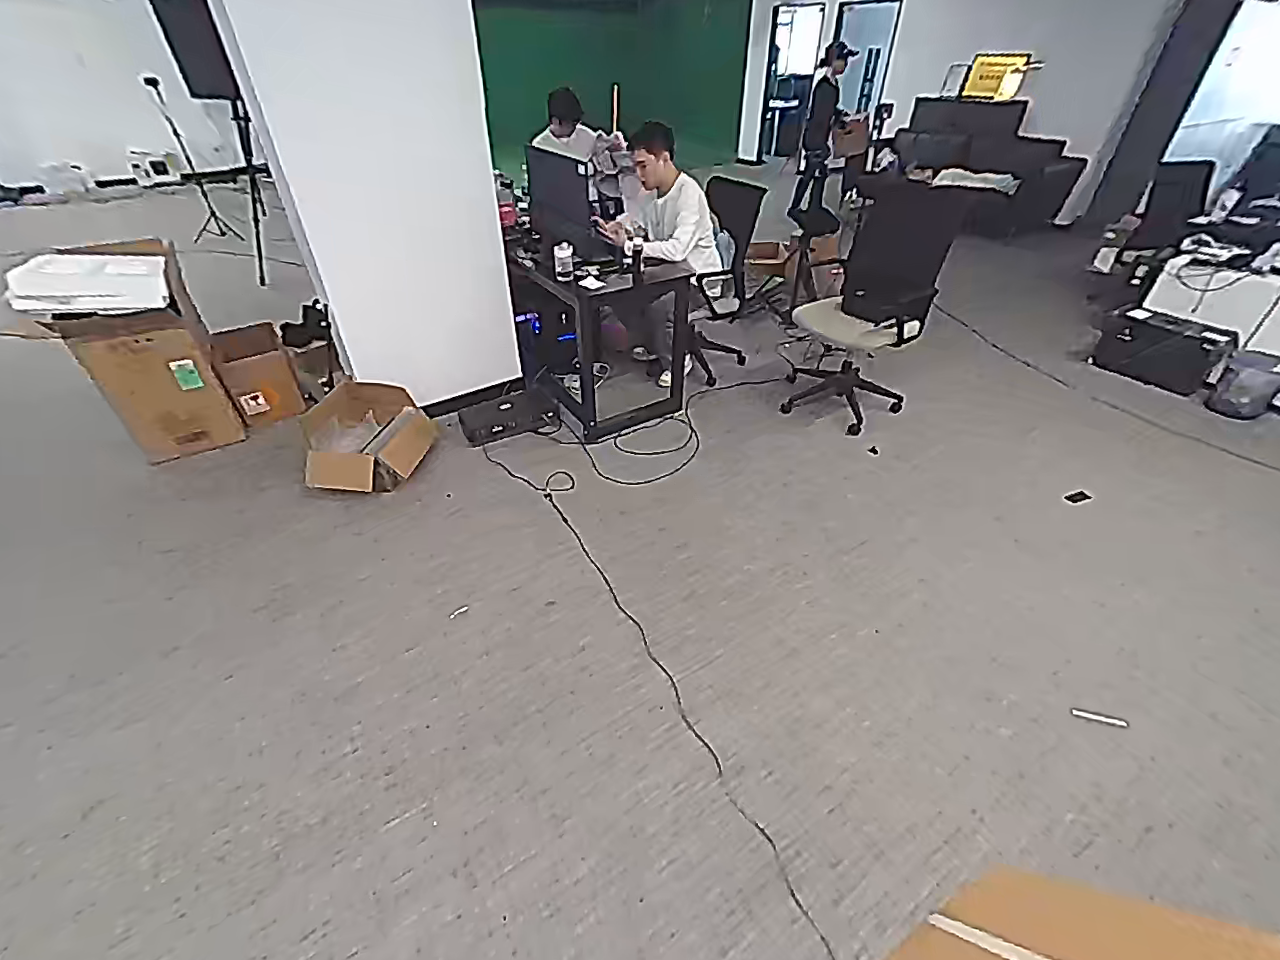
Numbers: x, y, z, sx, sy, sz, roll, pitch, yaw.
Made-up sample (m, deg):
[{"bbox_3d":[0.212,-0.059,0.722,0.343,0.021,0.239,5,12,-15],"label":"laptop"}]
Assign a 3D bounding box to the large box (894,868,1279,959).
[{"bbox_3d":[0.559,0.716,0.595,0.320,0.408,0.320,-20,72,-21],"label":"large box"}]
